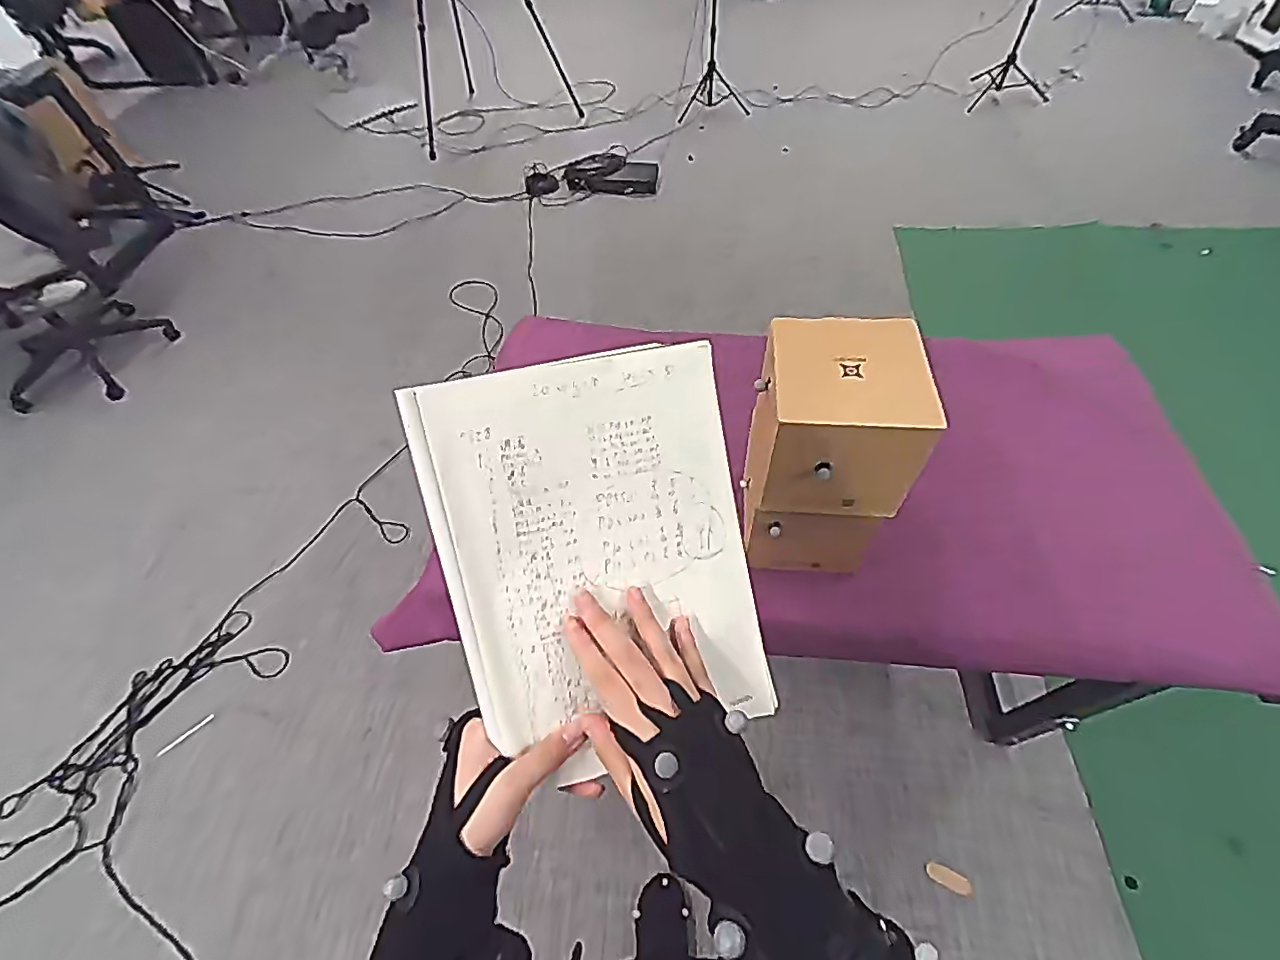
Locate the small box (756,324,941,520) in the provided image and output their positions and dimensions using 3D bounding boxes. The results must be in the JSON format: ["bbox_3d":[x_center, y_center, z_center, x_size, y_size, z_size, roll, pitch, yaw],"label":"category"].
[{"bbox_3d":[0.234,-0.067,0.657,0.168,0.176,0.179,3,53,6],"label":"small box"}]
